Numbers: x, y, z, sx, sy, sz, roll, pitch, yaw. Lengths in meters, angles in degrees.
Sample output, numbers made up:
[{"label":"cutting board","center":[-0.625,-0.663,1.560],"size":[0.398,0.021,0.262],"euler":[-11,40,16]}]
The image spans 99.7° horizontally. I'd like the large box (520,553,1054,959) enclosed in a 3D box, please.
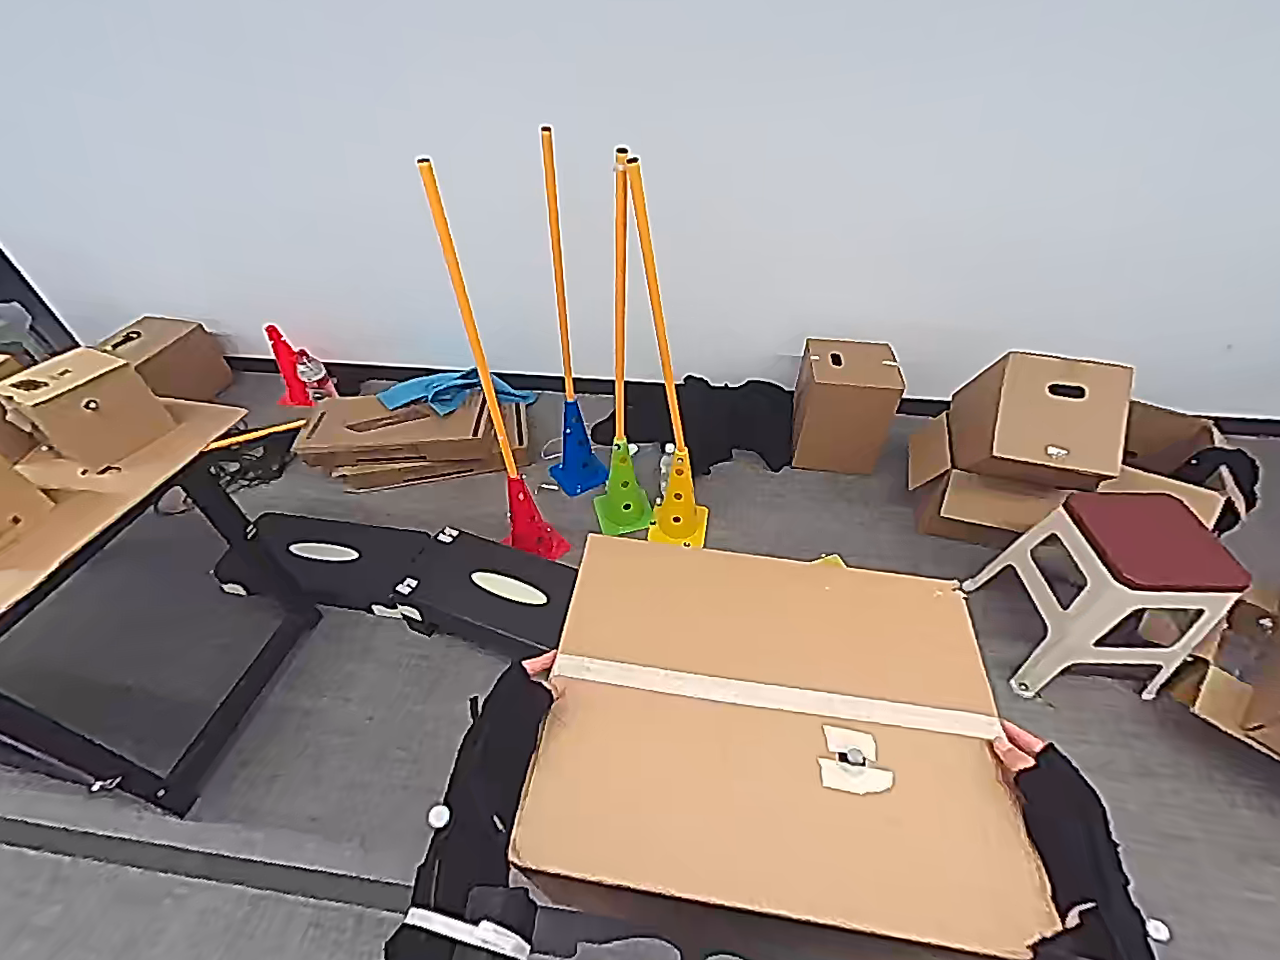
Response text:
[{"label":"large box","center":[0.116,0.316,0.607],"size":[0.408,0.320,0.320],"euler":[7,48,5]}]
